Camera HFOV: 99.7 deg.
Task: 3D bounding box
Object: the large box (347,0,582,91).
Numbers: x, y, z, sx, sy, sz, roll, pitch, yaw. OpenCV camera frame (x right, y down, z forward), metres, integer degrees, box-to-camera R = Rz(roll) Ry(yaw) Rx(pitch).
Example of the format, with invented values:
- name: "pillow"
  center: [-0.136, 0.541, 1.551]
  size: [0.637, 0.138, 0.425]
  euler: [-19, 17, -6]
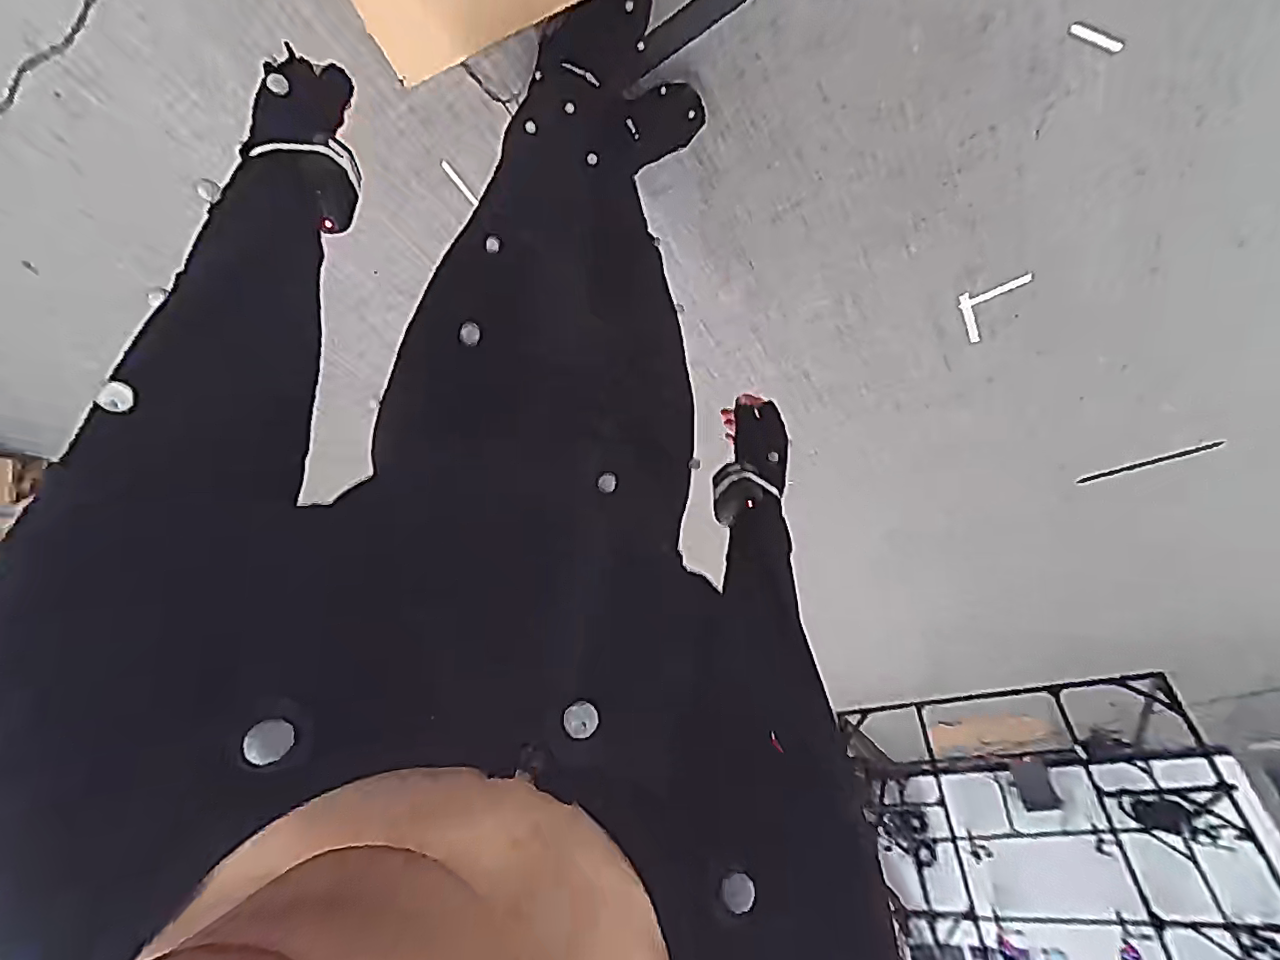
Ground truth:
- name: "large box"
  center: [-0.217, -0.824, 0.717]
  size: [0.408, 0.320, 0.320]
  euler: [-11, 141, 19]
